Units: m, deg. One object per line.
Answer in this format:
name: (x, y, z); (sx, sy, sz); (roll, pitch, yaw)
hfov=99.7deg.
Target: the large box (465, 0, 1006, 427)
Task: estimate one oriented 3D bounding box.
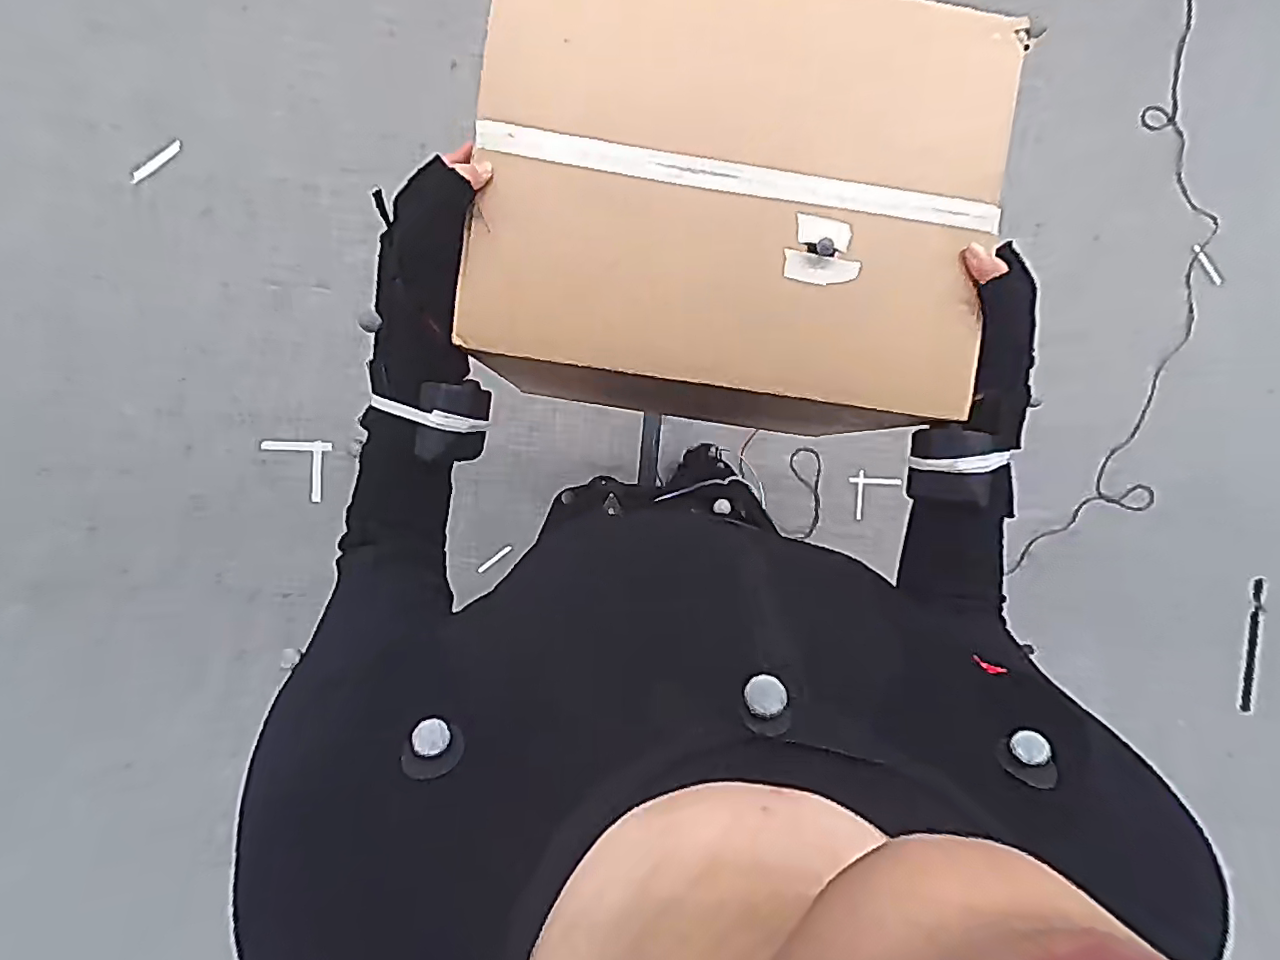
large box: (0.067, -0.239, 0.571); (0.408, 0.320, 0.320); (8, 93, -4)
